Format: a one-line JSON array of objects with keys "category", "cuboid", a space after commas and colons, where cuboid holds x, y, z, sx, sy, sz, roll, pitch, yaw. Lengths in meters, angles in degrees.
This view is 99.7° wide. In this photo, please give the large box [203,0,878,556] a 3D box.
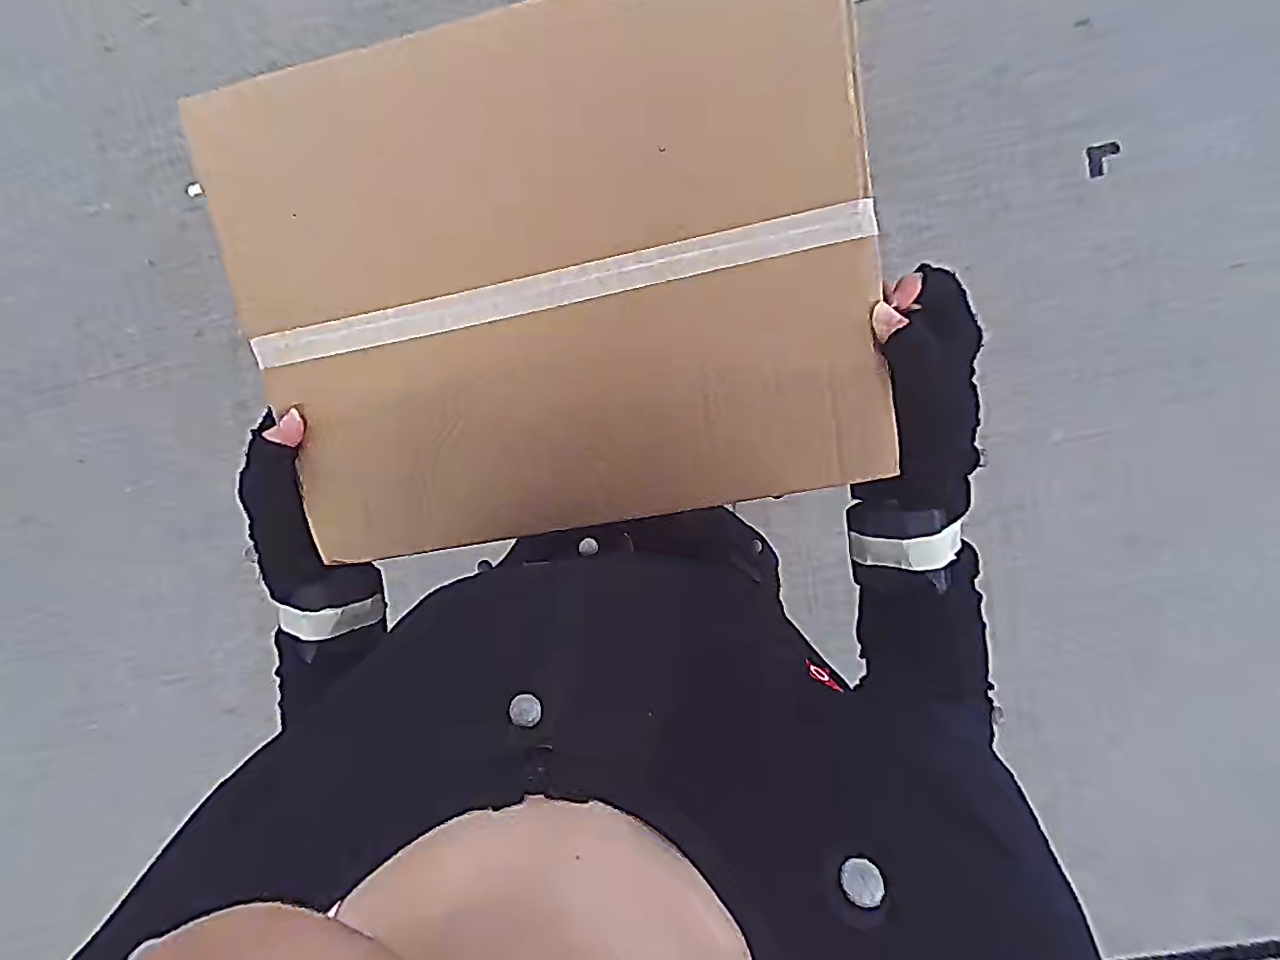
[{"category": "large box", "cuboid": [-0.049, -0.156, 0.499, 0.408, 0.320, 0.320, -10, 100, 7]}]
